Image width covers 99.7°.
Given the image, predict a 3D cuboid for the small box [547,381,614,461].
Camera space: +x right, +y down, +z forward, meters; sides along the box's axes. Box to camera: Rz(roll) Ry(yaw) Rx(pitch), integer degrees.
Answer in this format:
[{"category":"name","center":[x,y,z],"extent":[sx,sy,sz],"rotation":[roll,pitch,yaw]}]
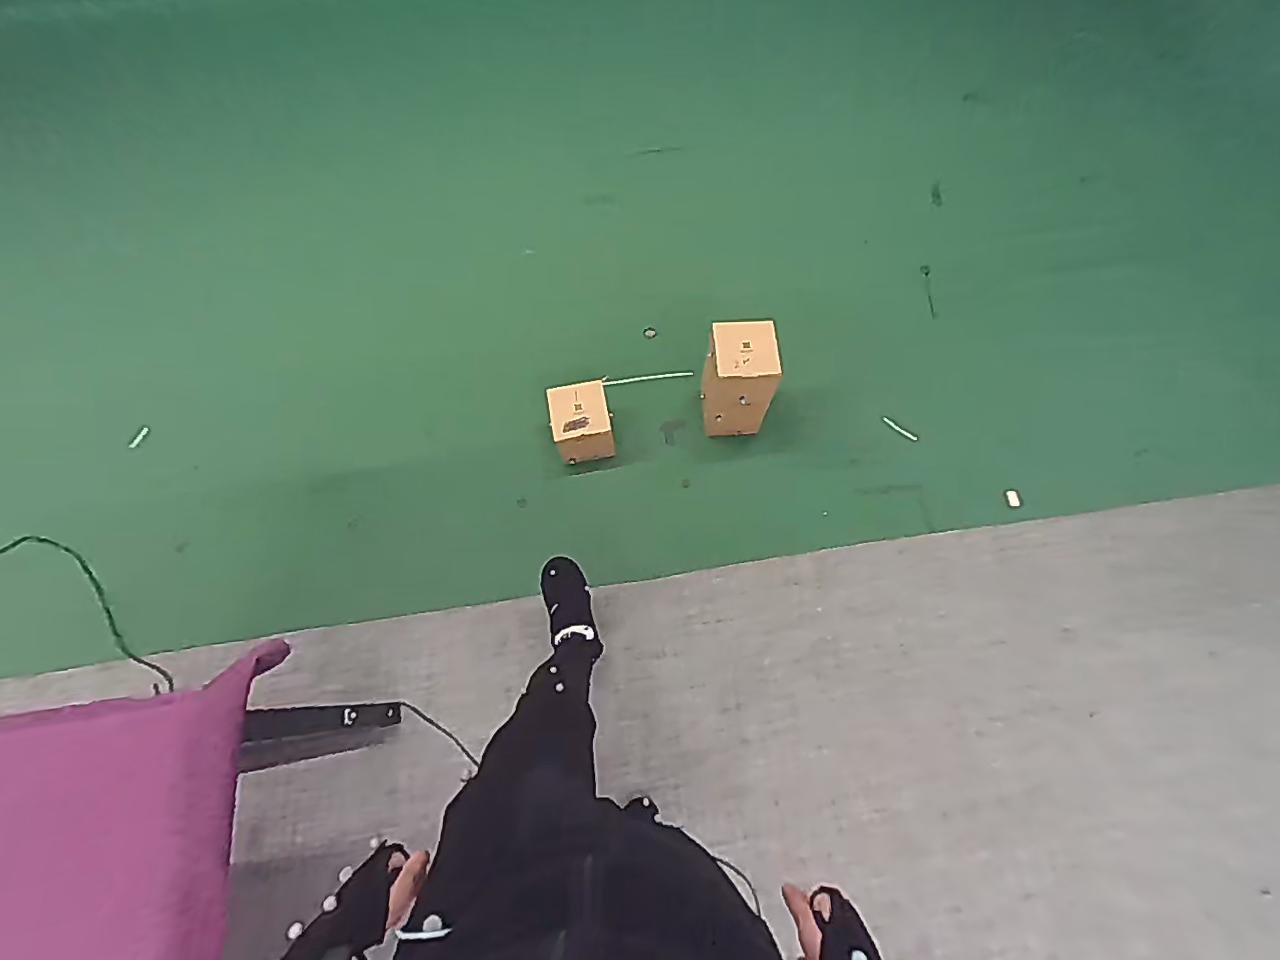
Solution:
[{"category":"small box","center":[-0.174,-0.168,1.619],"extent":[0.168,0.176,0.179],"rotation":[-10,68,-4]}]

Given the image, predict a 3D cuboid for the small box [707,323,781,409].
[{"category":"small box","center":[0.279,-0.312,1.496],"extent":[0.168,0.176,0.179],"rotation":[-2,68,0]}]
